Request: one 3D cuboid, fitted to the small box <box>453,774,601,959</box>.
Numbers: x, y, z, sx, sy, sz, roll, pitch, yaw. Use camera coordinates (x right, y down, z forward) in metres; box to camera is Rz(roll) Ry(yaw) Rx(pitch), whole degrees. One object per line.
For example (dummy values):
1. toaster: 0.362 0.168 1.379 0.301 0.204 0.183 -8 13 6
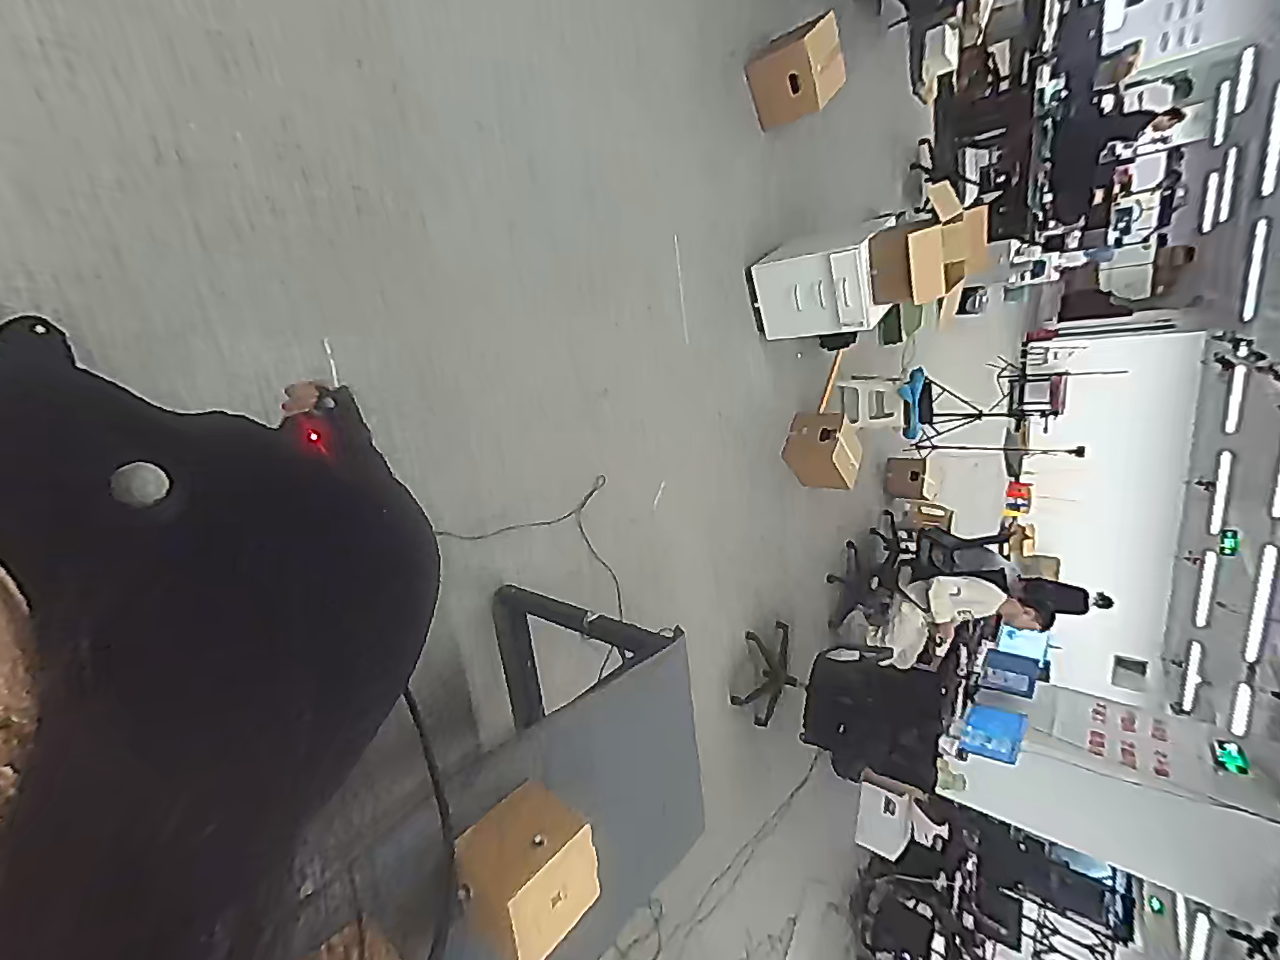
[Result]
1. small box: -0.193 0.657 0.937 0.179 0.176 0.168 -23 112 -46
